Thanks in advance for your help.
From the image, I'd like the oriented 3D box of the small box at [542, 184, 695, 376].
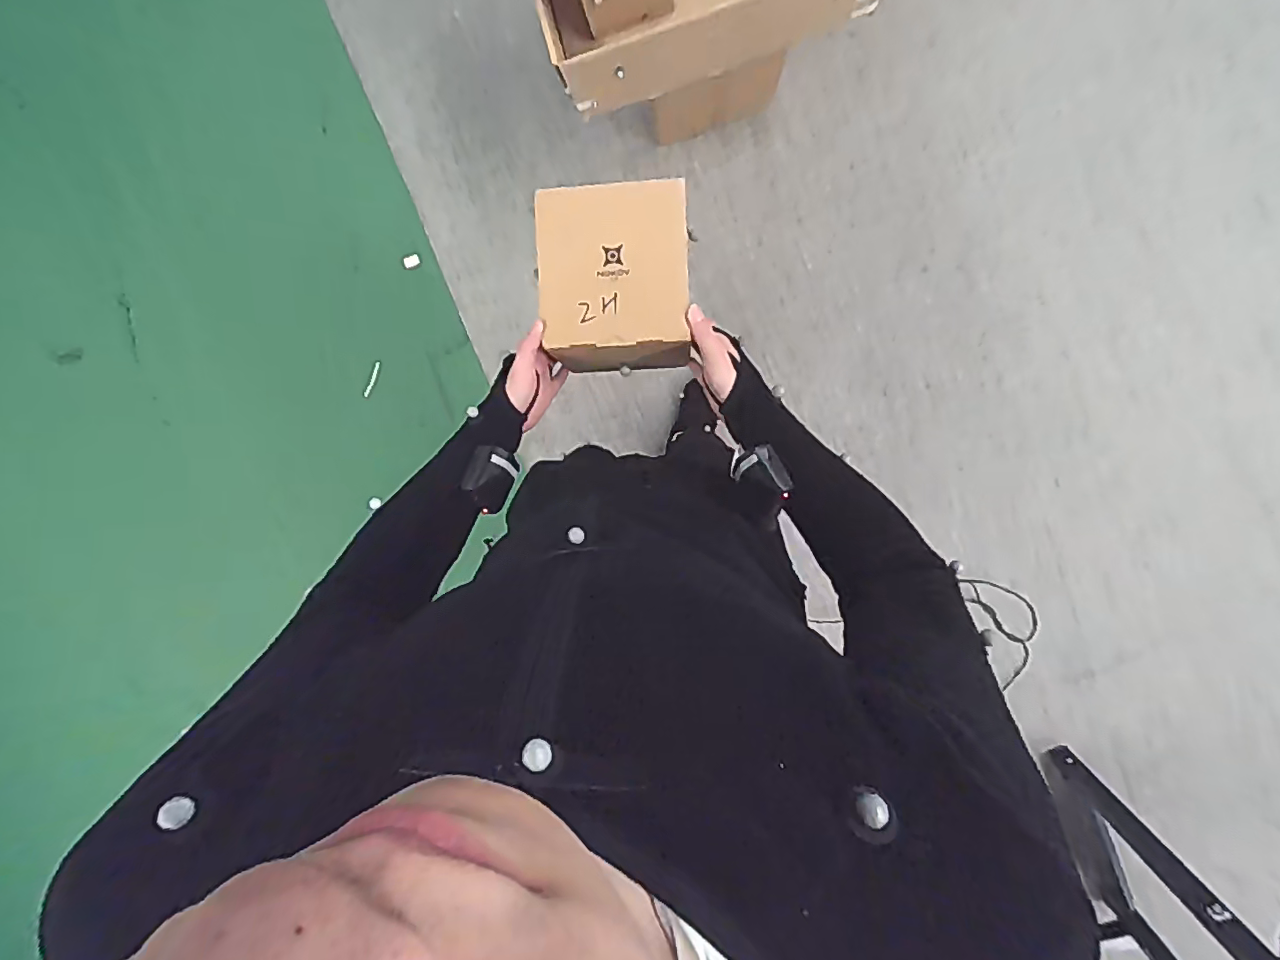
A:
[{"bbox_3d":[-0.020,-0.233,0.668,0.168,0.176,0.179,-2,92,4],"label":"small box"}]
